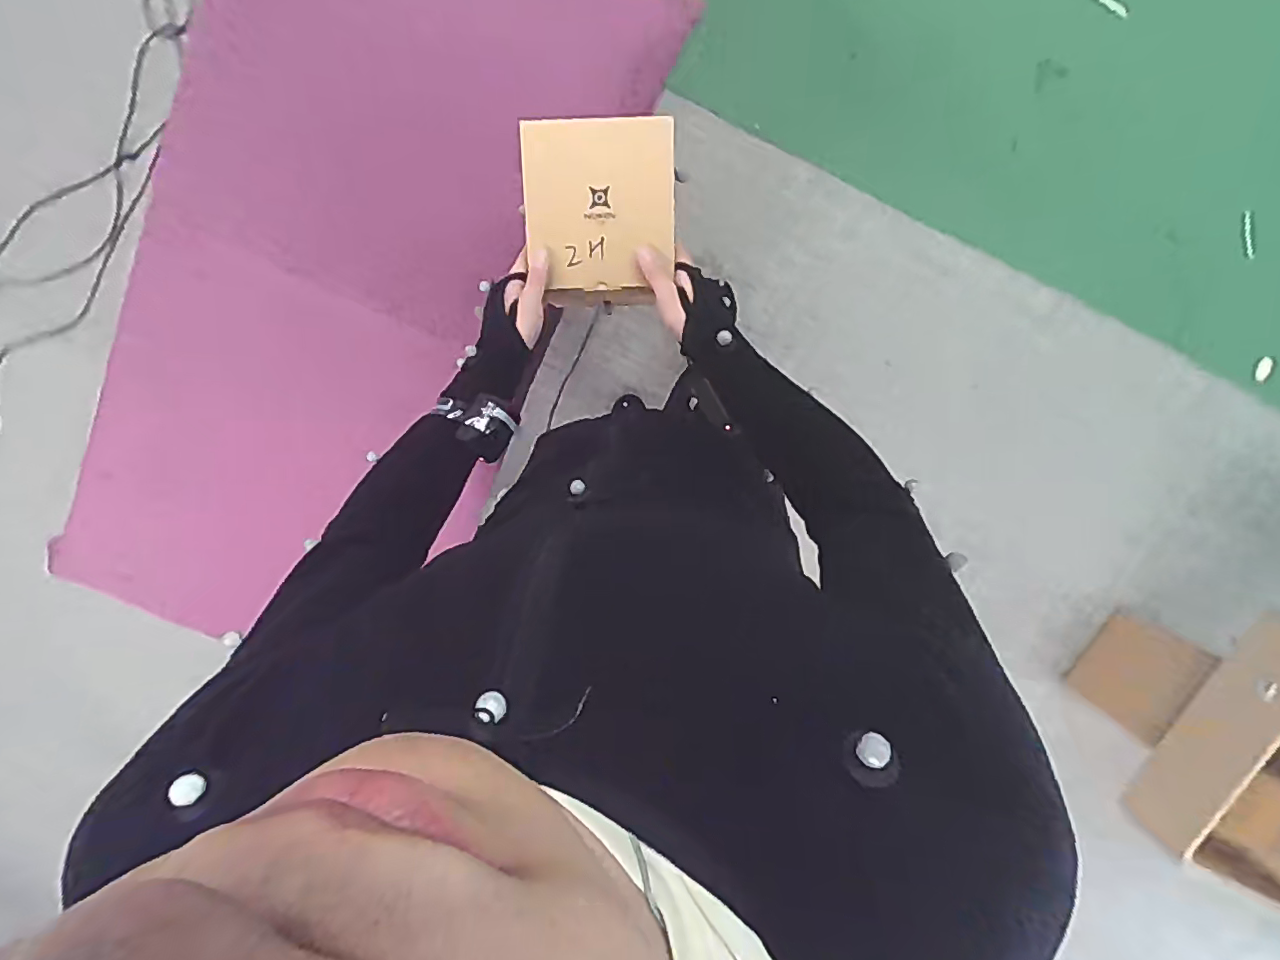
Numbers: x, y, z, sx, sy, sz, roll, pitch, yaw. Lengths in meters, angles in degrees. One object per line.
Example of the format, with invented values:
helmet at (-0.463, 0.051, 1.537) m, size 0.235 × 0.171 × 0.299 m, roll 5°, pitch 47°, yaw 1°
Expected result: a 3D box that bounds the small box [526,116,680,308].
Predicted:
small box at (-0.039, -0.313, 0.665) m, size 0.168 × 0.176 × 0.179 m, roll 0°, pitch 102°, yaw 2°
